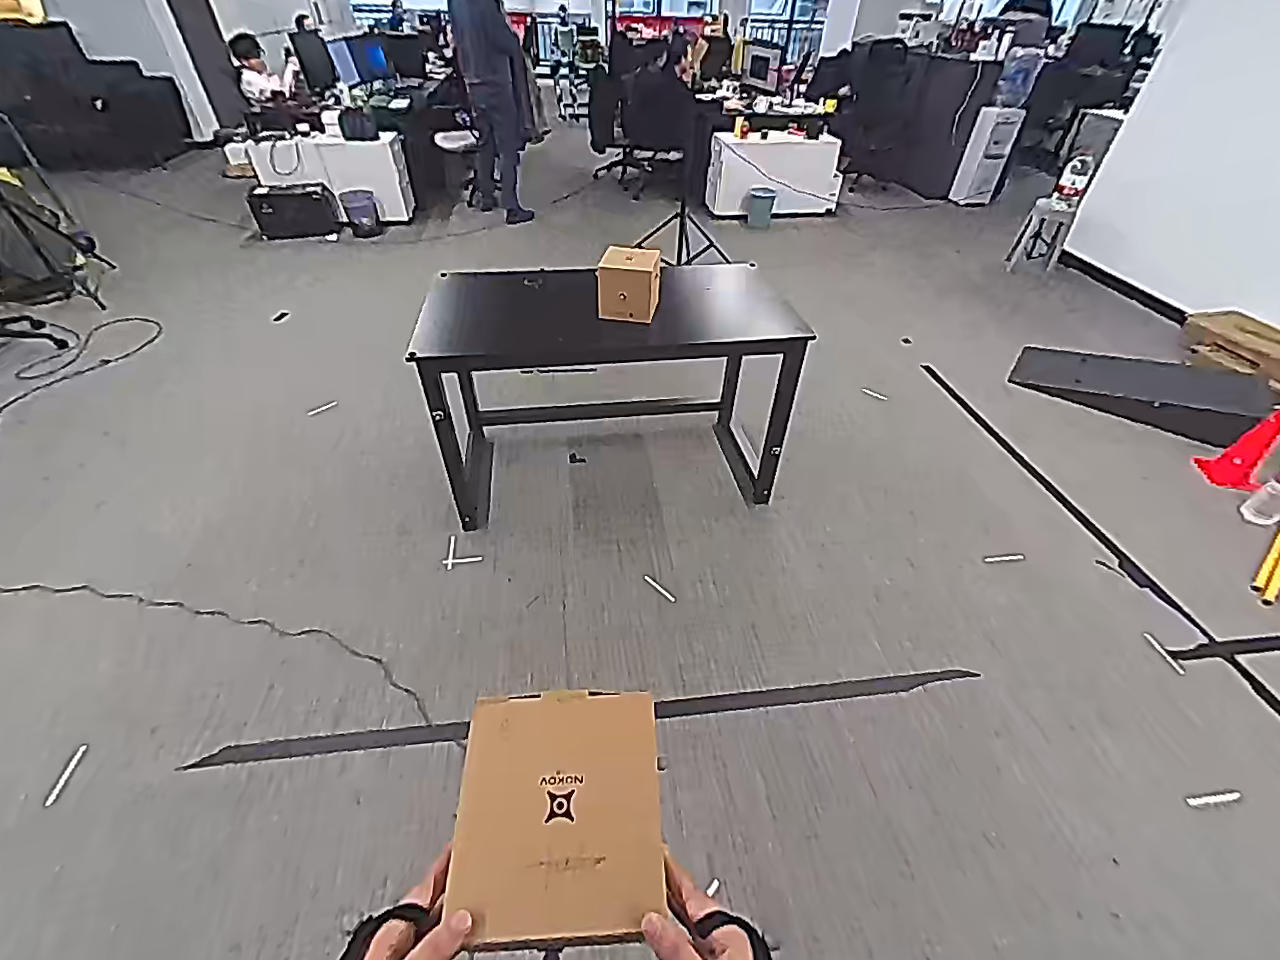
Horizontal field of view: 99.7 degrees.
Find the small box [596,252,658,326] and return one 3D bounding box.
[{"bbox_3d":[-0.037,-0.607,1.722,0.168,0.176,0.179,8,42,6],"label":"small box"}]

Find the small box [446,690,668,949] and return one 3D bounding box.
[{"bbox_3d":[-0.067,0.318,0.510,0.168,0.176,0.179,-1,48,-4],"label":"small box"}]
